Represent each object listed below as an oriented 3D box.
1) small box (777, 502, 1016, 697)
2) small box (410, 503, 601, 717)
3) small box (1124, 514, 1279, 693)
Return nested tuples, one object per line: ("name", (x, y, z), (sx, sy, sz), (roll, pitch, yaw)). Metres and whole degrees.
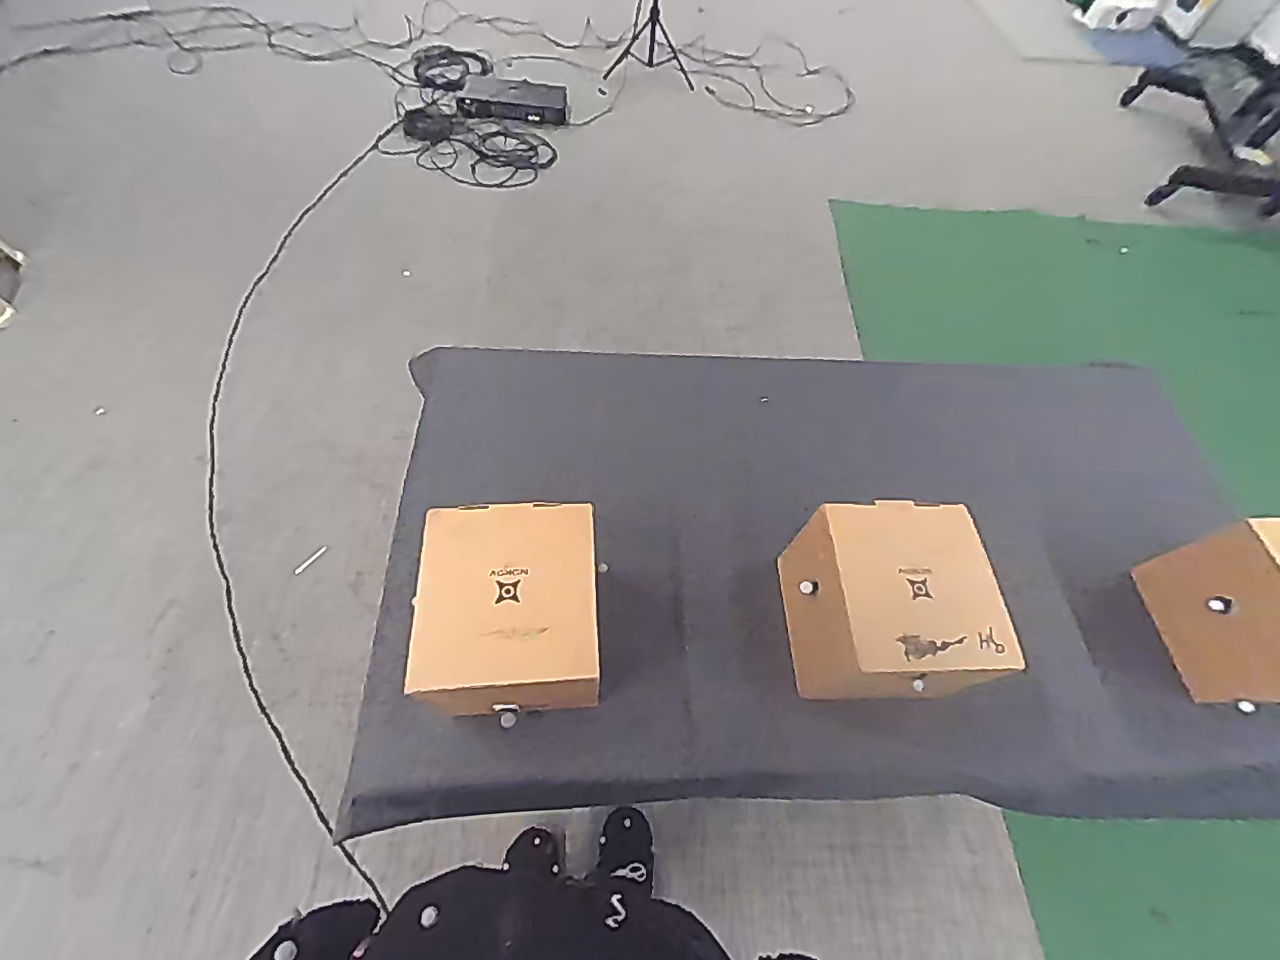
("small box", (0.268, 0.140, 0.618), (0.168, 0.176, 0.179), (0, 59, -5))
("small box", (-0.130, 0.142, 0.578), (0.168, 0.176, 0.179), (-3, 60, -6))
("small box", (0.758, 0.154, 0.650), (0.168, 0.176, 0.179), (0, 59, -3))
